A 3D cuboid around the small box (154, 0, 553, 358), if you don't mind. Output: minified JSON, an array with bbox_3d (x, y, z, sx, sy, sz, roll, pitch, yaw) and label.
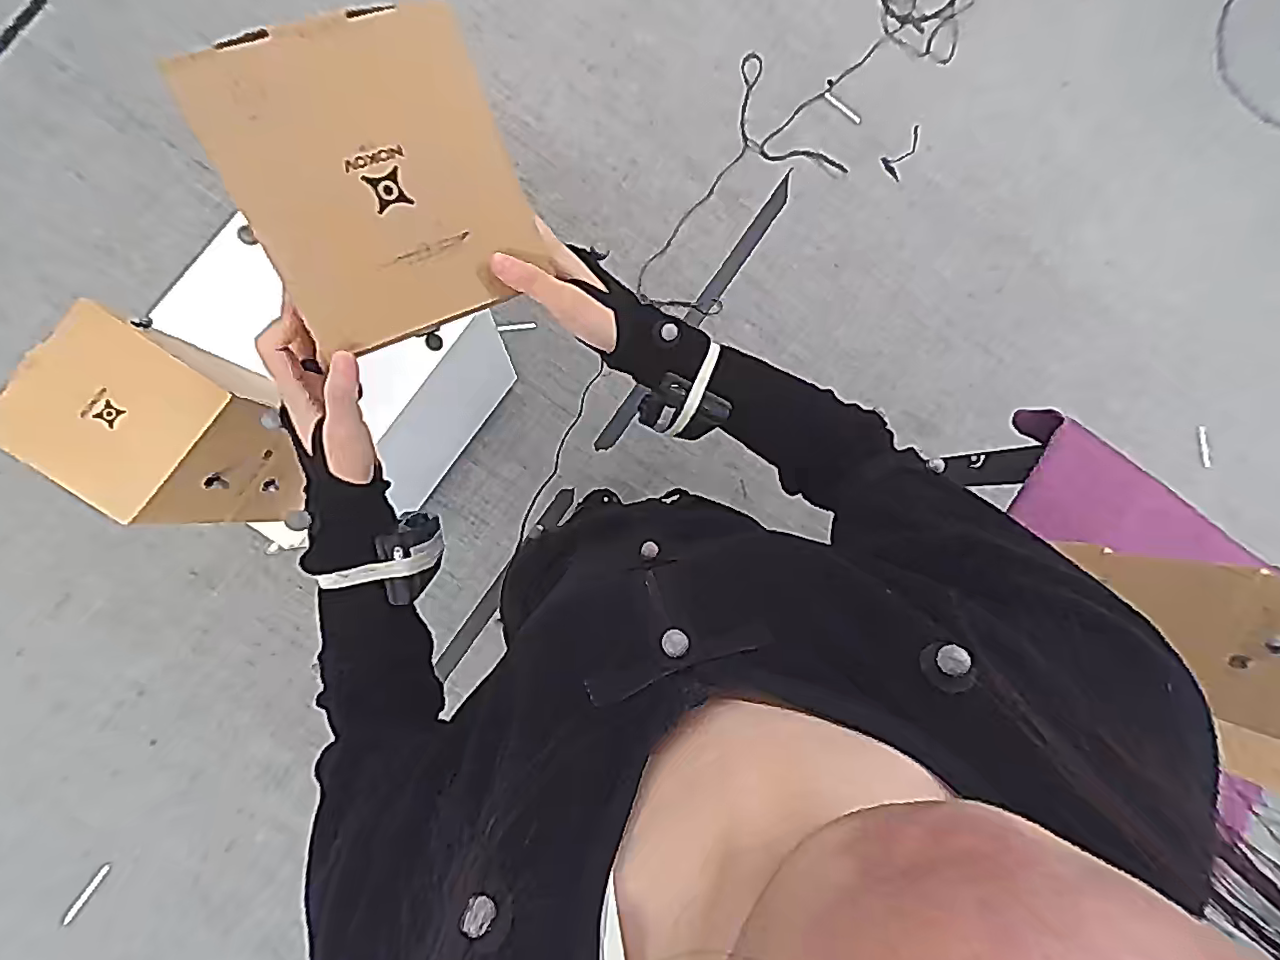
[{"bbox_3d":[-0.189,-0.202,0.404,0.168,0.176,0.179,-27,112,-14],"label":"small box"}]

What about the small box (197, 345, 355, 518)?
[{"bbox_3d":[-0.559,-0.057,0.777,0.179,0.176,0.168,35,83,-3],"label":"small box"}]

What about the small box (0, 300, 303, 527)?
[{"bbox_3d":[-0.536,-0.064,0.615,0.179,0.176,0.168,34,83,-4],"label":"small box"}]
